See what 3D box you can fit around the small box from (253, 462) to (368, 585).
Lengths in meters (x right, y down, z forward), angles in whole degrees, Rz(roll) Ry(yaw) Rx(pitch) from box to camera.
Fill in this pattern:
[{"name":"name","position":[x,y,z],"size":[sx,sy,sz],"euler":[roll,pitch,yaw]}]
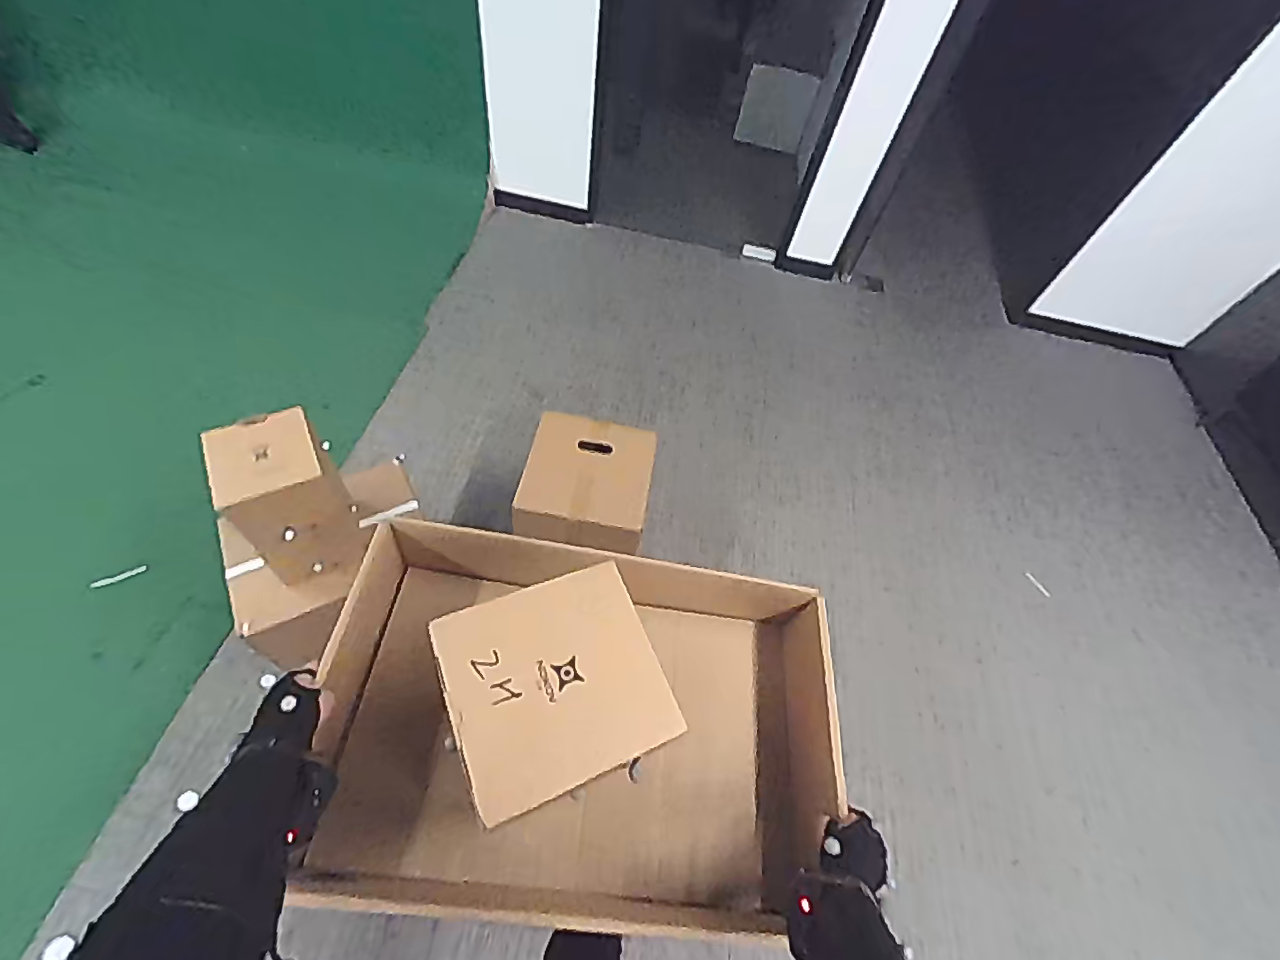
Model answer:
[{"name":"small box","position":[-0.700,0.094,1.149],"size":[0.168,0.176,0.179],"euler":[-19,61,-21]}]

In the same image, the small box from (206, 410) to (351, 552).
[{"name":"small box","position":[-0.671,0.004,1.016],"size":[0.168,0.176,0.179],"euler":[-22,61,-22]}]

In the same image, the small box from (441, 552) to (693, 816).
[{"name":"small box","position":[-0.078,0.197,0.522],"size":[0.179,0.176,0.168],"euler":[-16,61,-22]}]
